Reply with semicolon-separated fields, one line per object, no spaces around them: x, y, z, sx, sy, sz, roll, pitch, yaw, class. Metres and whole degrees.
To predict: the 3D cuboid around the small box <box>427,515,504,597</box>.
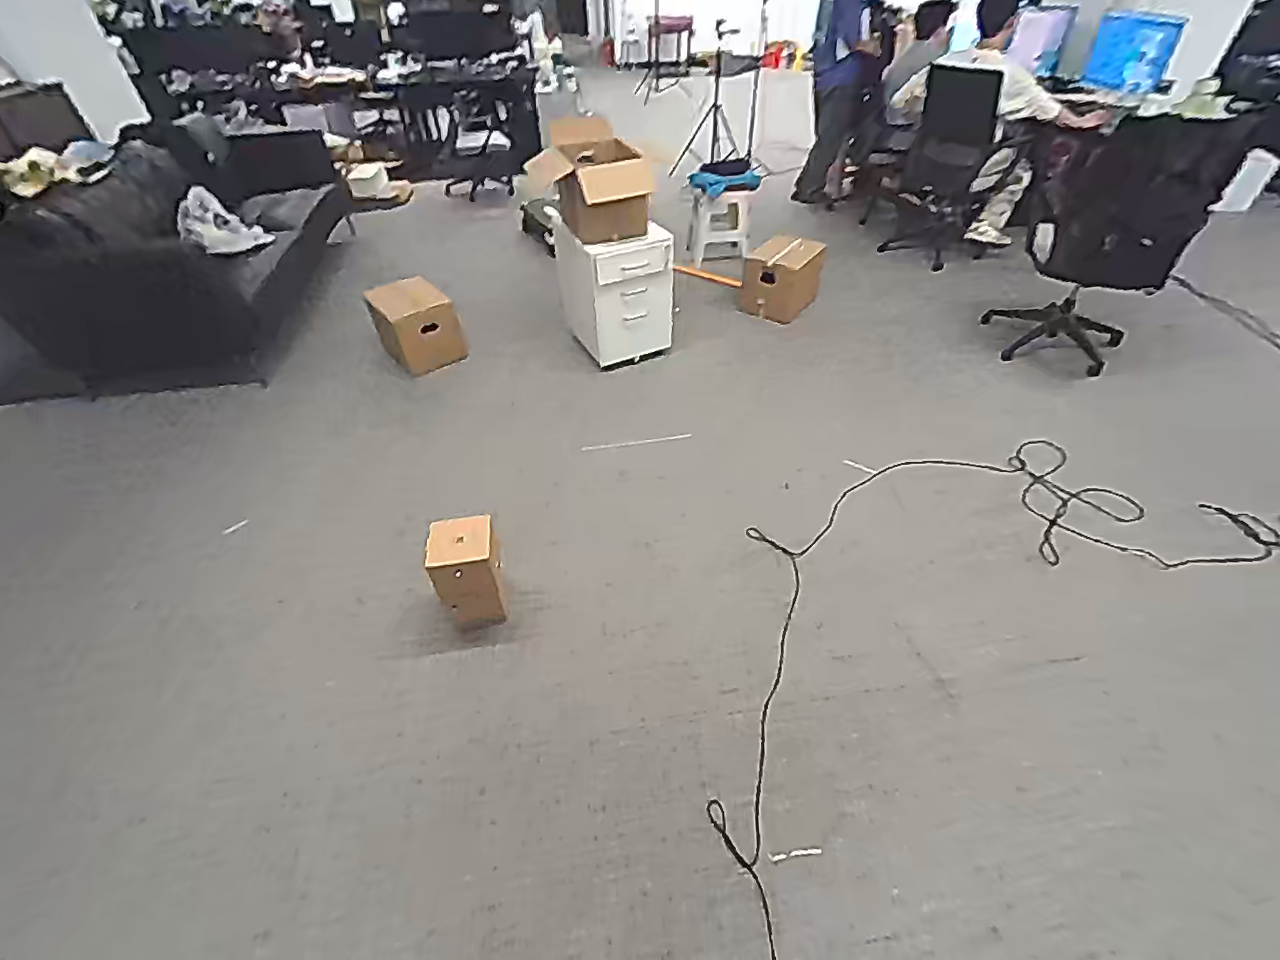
-0.505;0.226;1.587;0.179;0.176;0.168;-7;45;-7;small box
